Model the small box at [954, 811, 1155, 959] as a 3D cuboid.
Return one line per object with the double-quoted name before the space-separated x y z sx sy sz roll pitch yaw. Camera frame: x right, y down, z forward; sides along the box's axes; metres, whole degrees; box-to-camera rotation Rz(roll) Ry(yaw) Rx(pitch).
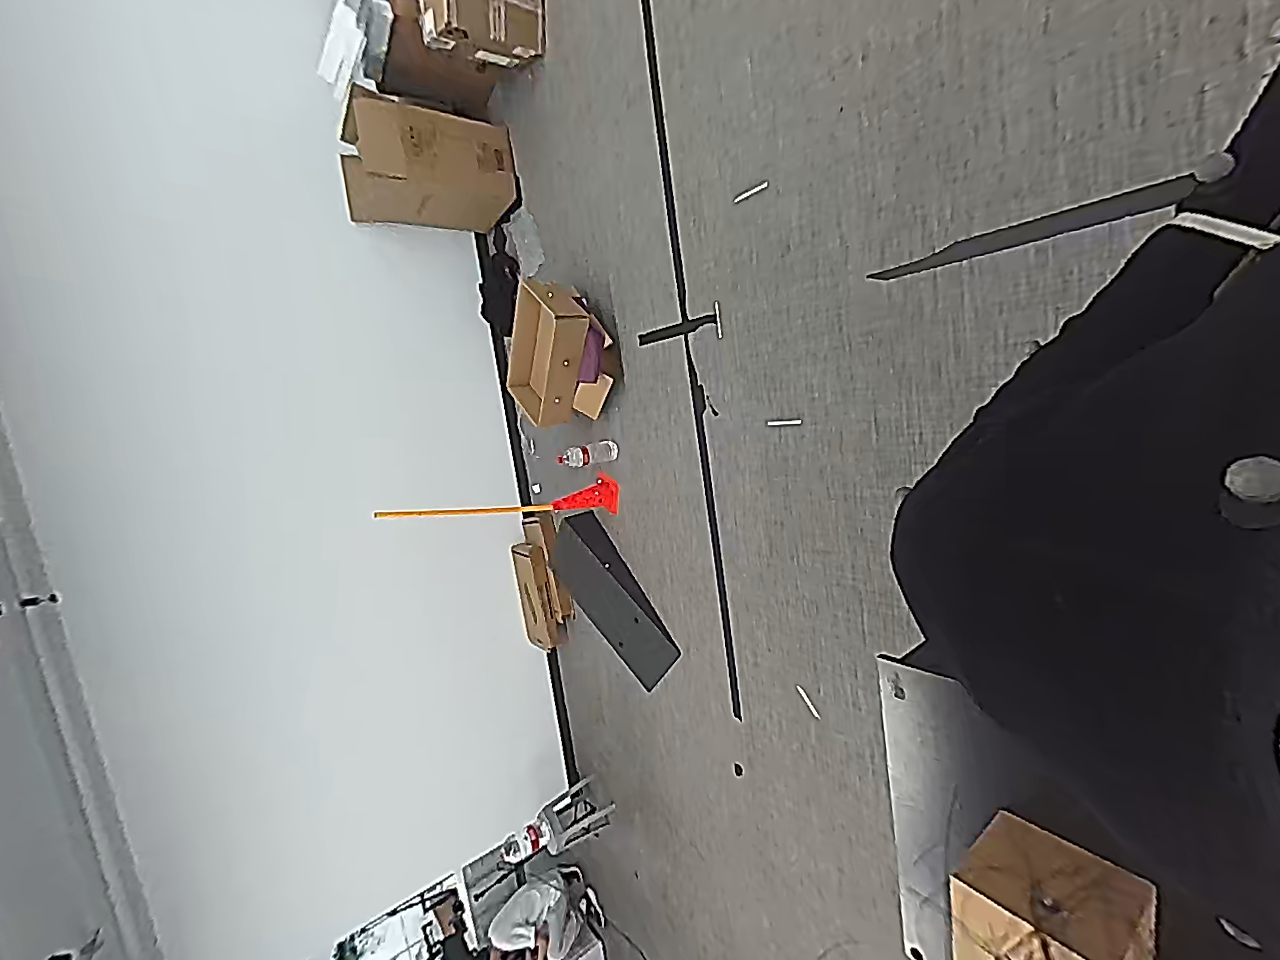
"small box" 0.550 0.591 0.720 0.179 0.176 0.168 6 106 55
